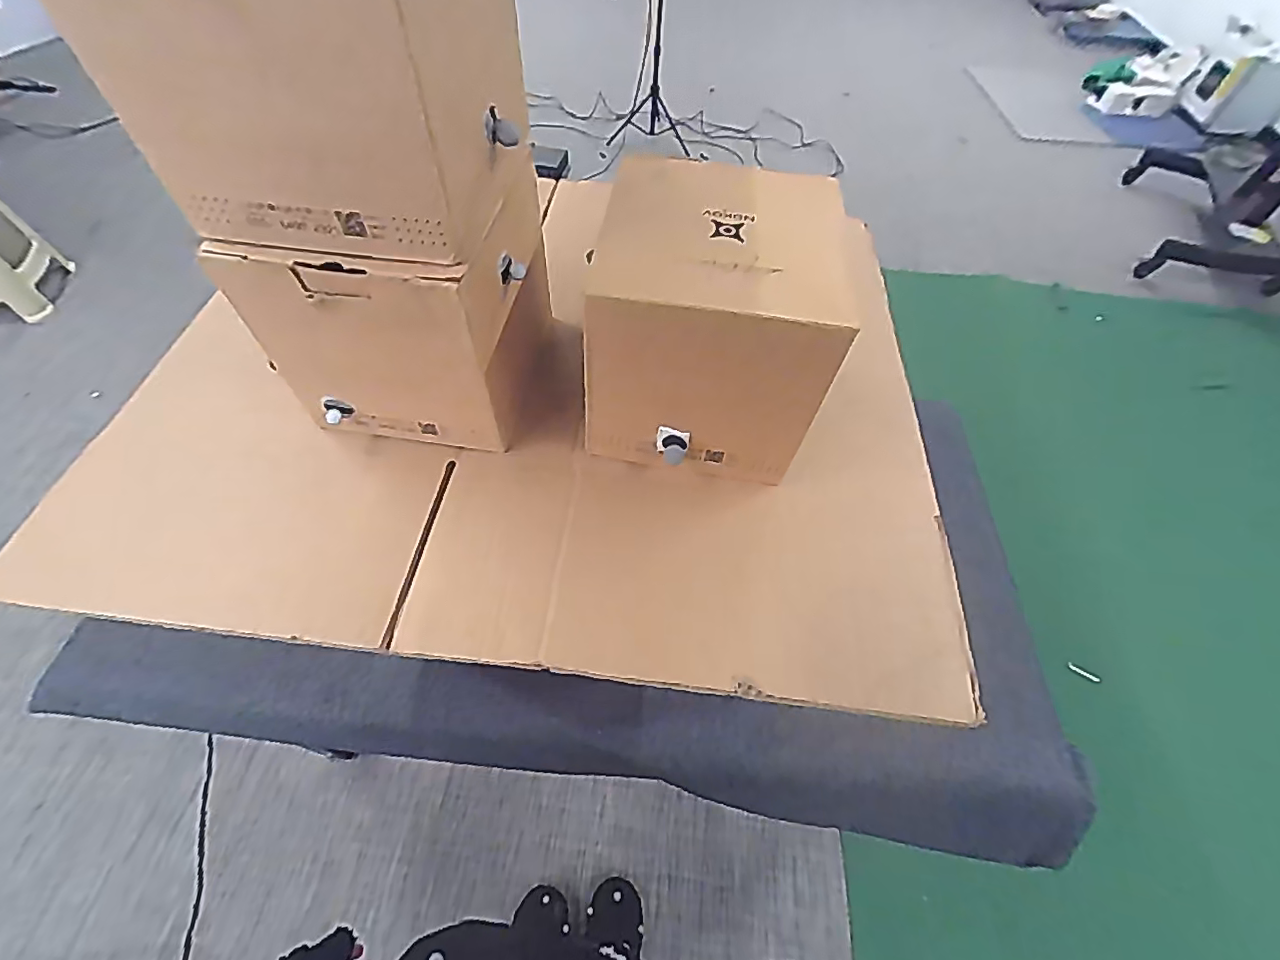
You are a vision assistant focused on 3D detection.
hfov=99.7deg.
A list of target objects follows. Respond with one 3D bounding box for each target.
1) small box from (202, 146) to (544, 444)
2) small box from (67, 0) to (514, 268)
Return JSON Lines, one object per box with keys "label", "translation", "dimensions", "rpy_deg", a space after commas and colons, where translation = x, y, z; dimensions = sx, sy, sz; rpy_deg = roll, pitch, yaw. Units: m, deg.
{"label": "small box", "translation": [-0.181, -0.150, 0.440], "dimensions": [0.168, 0.176, 0.179], "rpy_deg": [8, 56, 2]}
{"label": "small box", "translation": [-0.177, -0.251, 0.312], "dimensions": [0.168, 0.176, 0.179], "rpy_deg": [7, 56, 1]}
